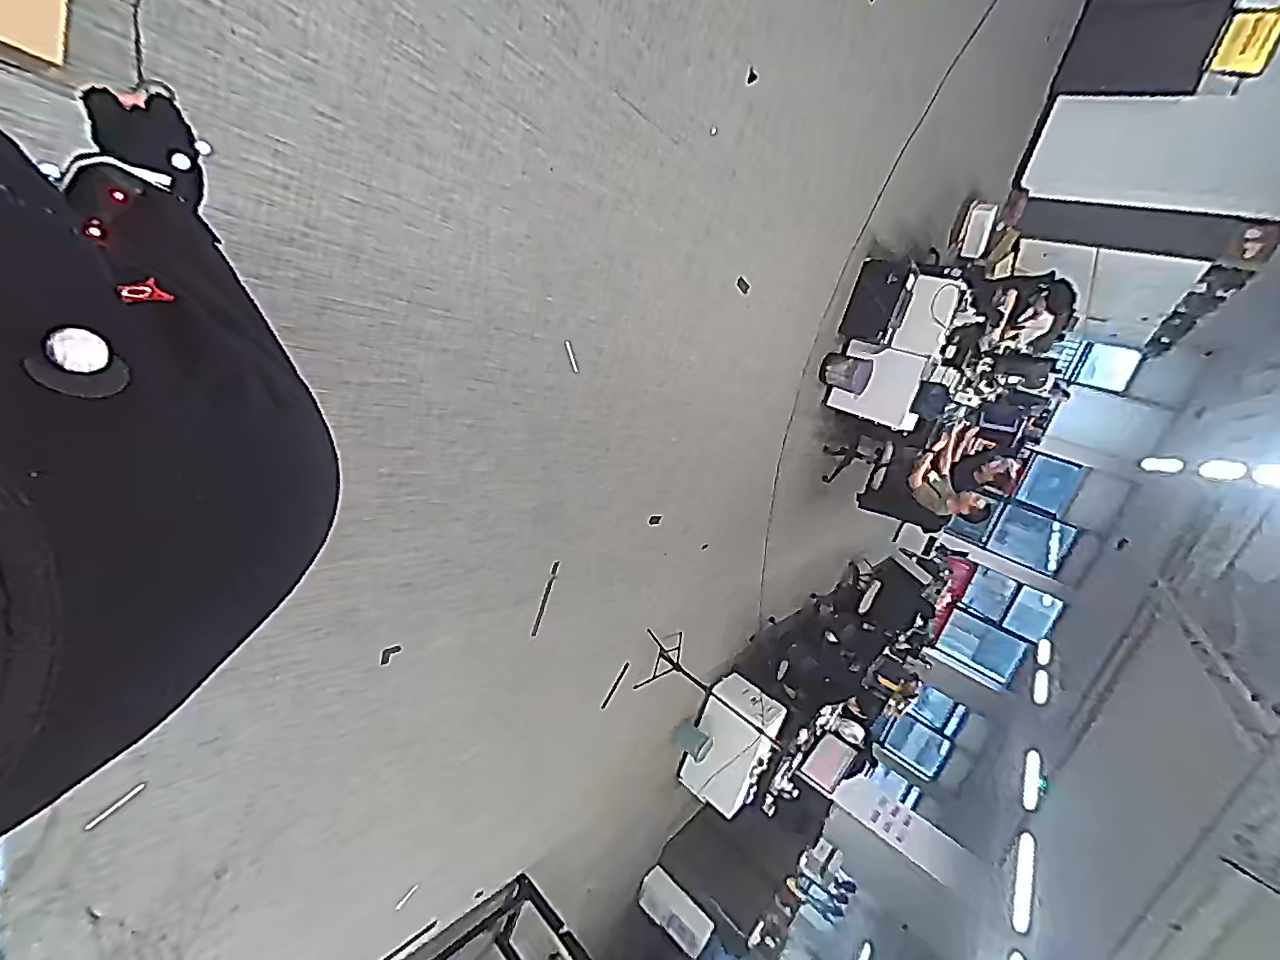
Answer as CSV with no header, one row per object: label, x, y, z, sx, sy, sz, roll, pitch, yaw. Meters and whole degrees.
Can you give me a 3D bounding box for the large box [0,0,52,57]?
large box,-0.974,-0.766,0.613,0.408,0.320,0.320,1,112,-53
